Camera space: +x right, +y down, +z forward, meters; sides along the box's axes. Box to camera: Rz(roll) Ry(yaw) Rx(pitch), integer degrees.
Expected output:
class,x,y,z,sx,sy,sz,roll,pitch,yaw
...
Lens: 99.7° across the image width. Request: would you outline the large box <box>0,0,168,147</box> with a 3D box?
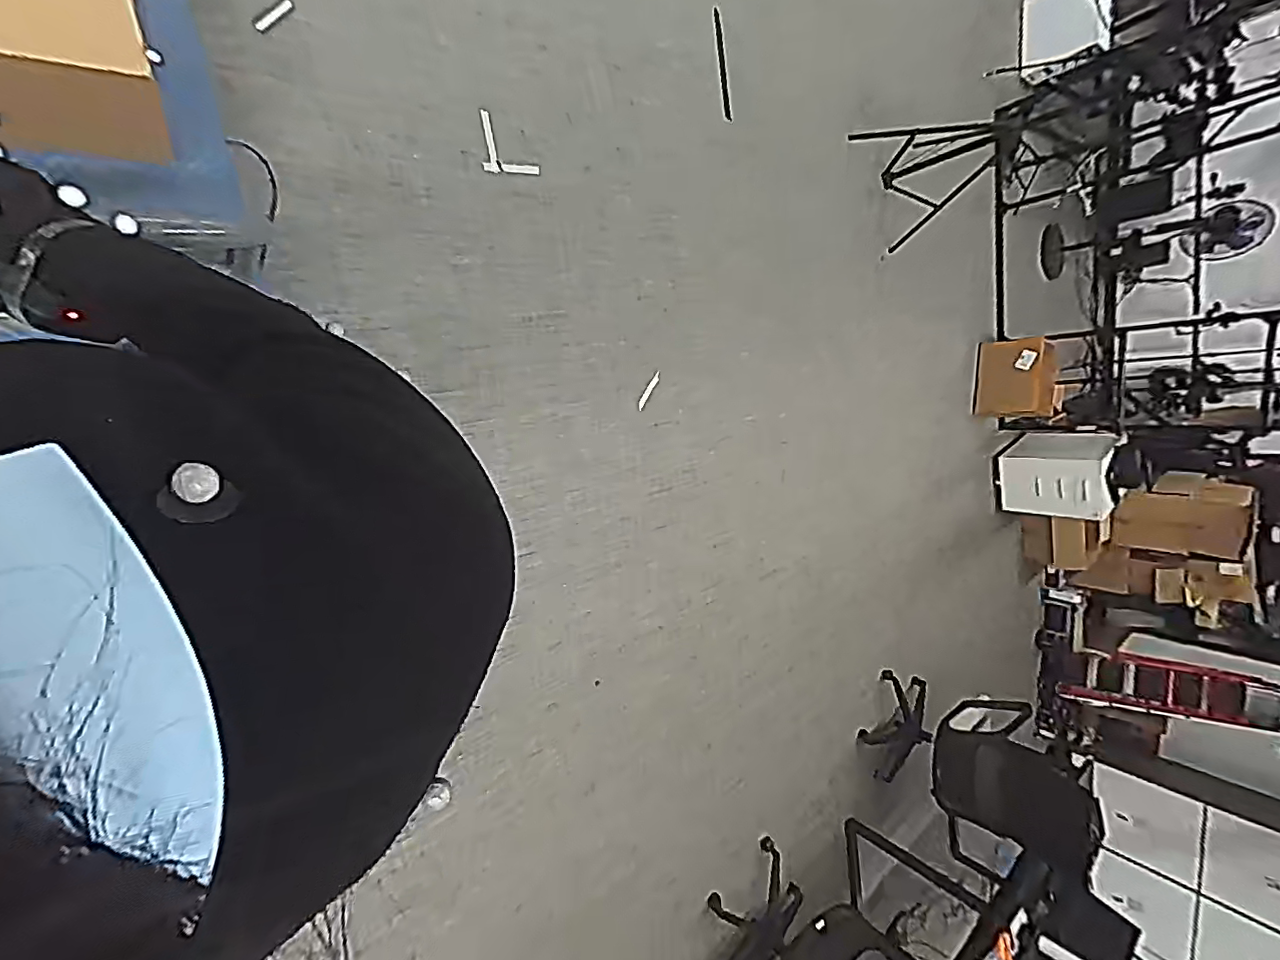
class,x,y,z,sx,sy,sz,roll,pitch,yaw
large box,-0.936,-0.680,0.710,0.408,0.320,0.320,-15,103,-34
